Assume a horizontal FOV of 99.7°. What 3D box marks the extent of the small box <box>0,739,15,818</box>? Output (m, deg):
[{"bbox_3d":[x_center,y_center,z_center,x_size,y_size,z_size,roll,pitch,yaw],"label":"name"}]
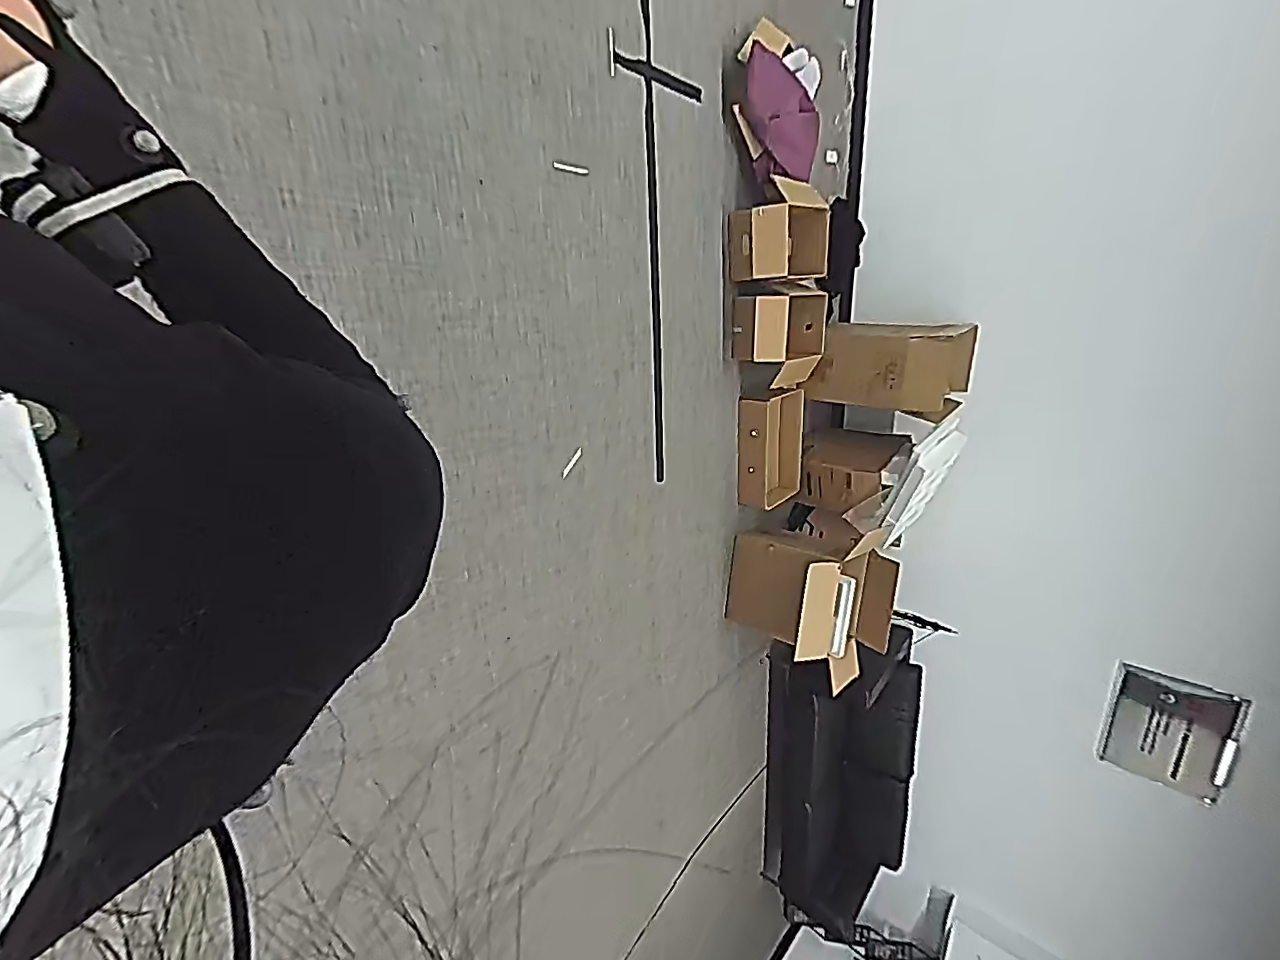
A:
[{"bbox_3d":[-1.162,0.479,0.867,0.168,0.176,0.179,-24,117,-44],"label":"small box"}]
